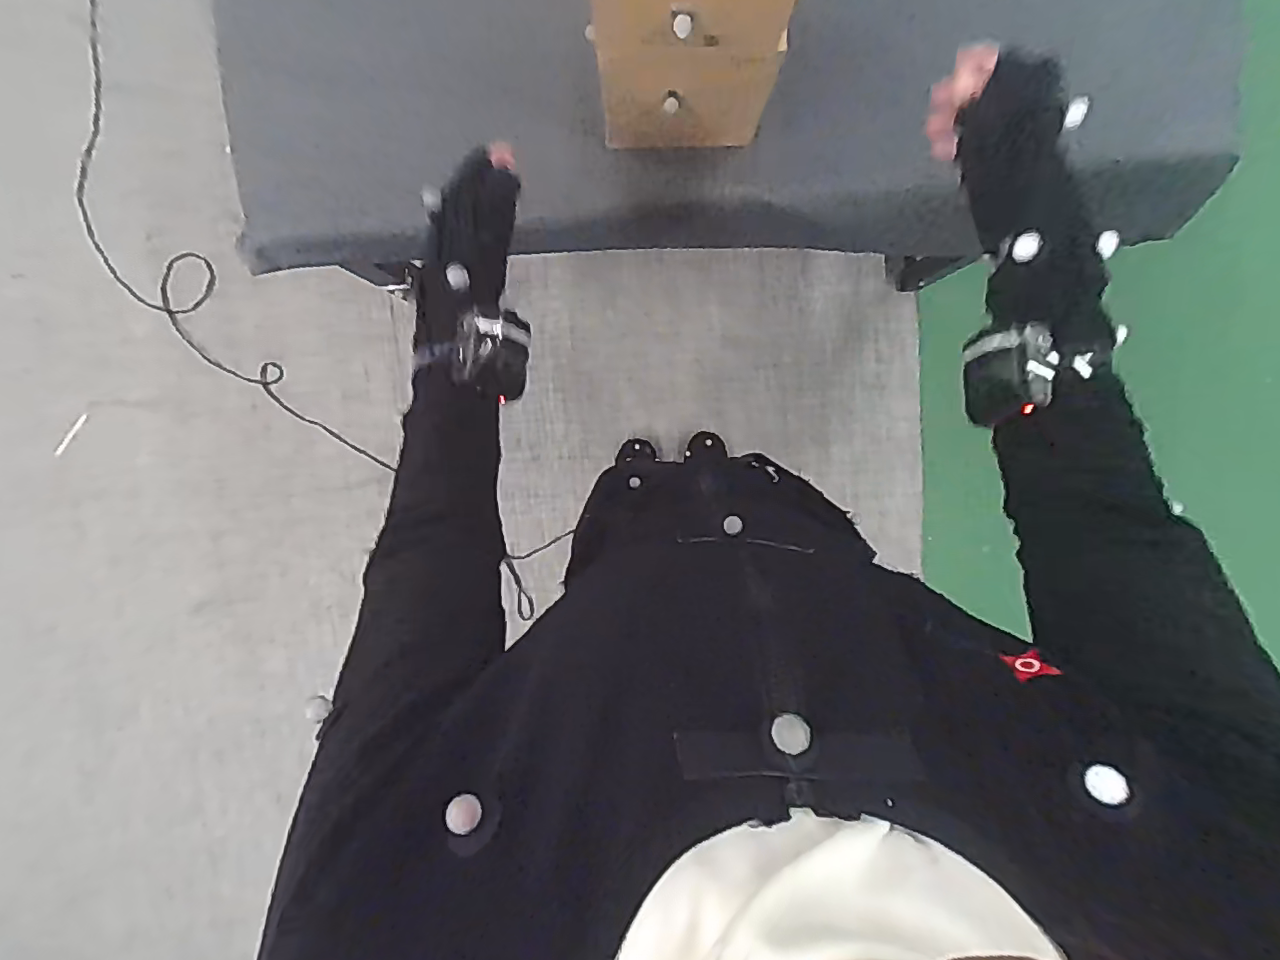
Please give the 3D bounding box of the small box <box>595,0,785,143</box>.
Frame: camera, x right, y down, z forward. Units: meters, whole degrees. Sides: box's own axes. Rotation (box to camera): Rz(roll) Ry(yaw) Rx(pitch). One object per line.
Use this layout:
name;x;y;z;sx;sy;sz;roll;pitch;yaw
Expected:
small box;0.047;-0.481;0.570;0.179;0.176;0.168;-1;96;0

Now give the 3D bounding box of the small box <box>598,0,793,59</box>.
small box;0.047;-0.469;0.405;0.168;0.176;0.179;2;96;0
